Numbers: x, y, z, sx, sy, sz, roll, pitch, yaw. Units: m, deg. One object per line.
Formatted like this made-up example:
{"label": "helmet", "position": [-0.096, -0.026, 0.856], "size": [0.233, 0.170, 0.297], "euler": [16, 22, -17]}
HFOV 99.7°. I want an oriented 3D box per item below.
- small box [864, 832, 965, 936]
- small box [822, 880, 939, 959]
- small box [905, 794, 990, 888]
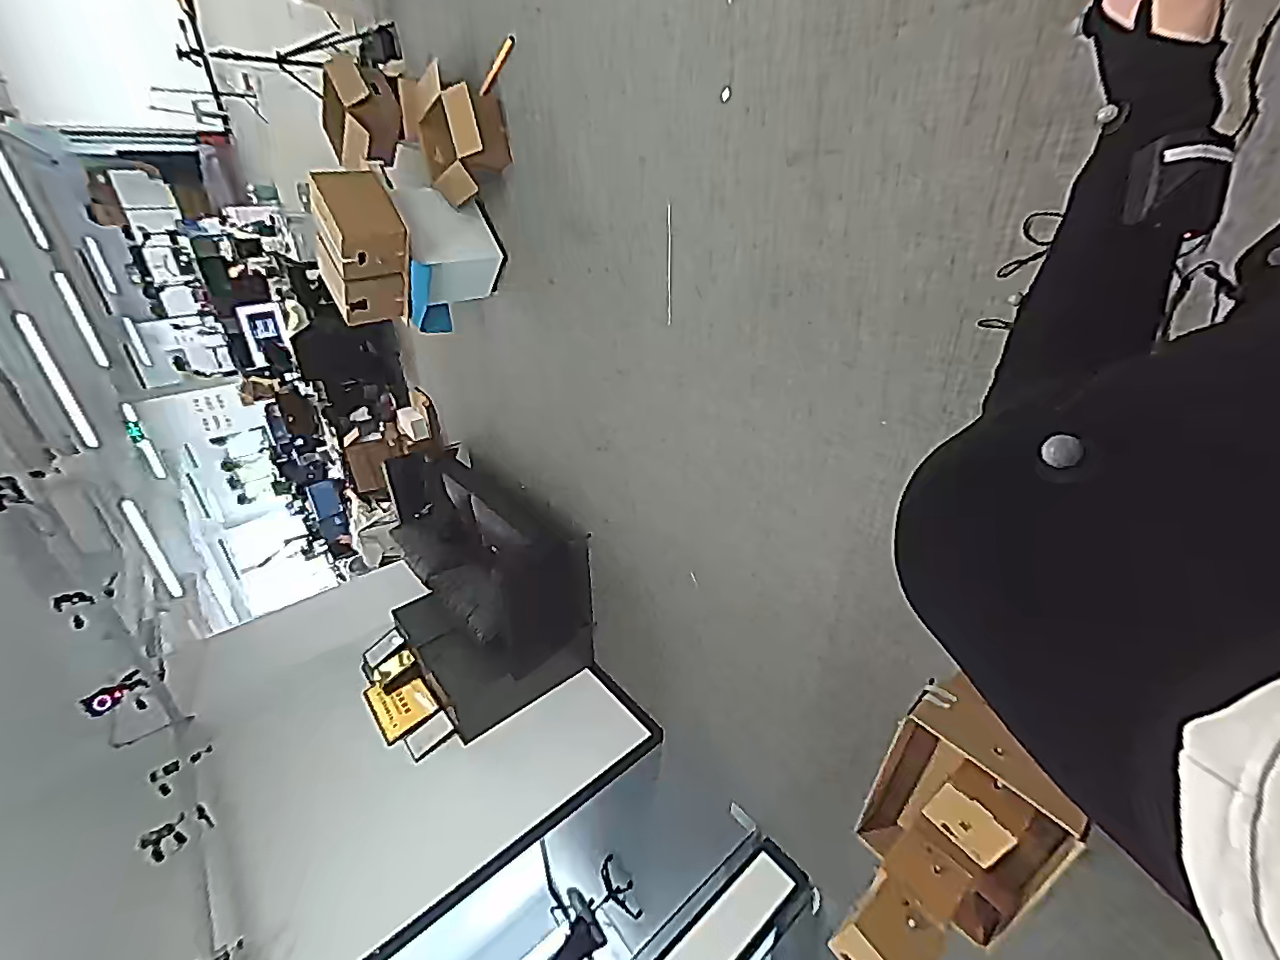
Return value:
{"label": "small box", "position": [0.700, 1.064, 1.389], "size": [0.168, 0.176, 0.179], "euler": [32, 130, 42]}
{"label": "small box", "position": [0.576, 1.118, 1.295], "size": [0.168, 0.176, 0.179], "euler": [40, 135, 35]}
{"label": "small box", "position": [0.824, 1.018, 1.482], "size": [0.168, 0.176, 0.179], "euler": [31, 130, 41]}
